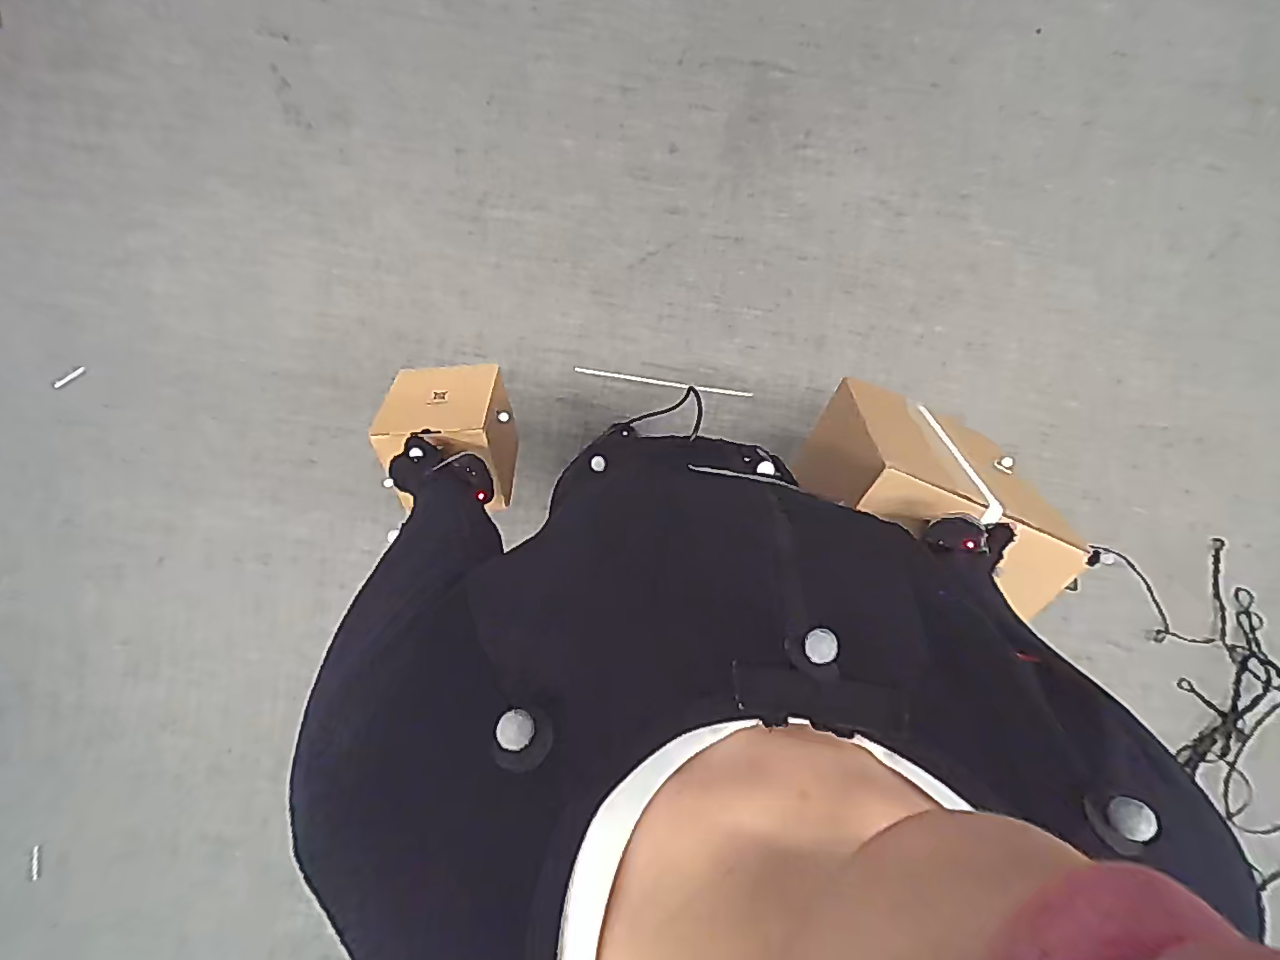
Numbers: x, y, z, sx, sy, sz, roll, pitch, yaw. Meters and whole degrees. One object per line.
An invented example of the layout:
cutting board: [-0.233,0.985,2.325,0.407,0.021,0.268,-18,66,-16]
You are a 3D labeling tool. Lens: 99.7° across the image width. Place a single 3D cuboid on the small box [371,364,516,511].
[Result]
small box: [-0.305,-0.070,0.887,0.168,0.179,0.176,-4,133,0]
